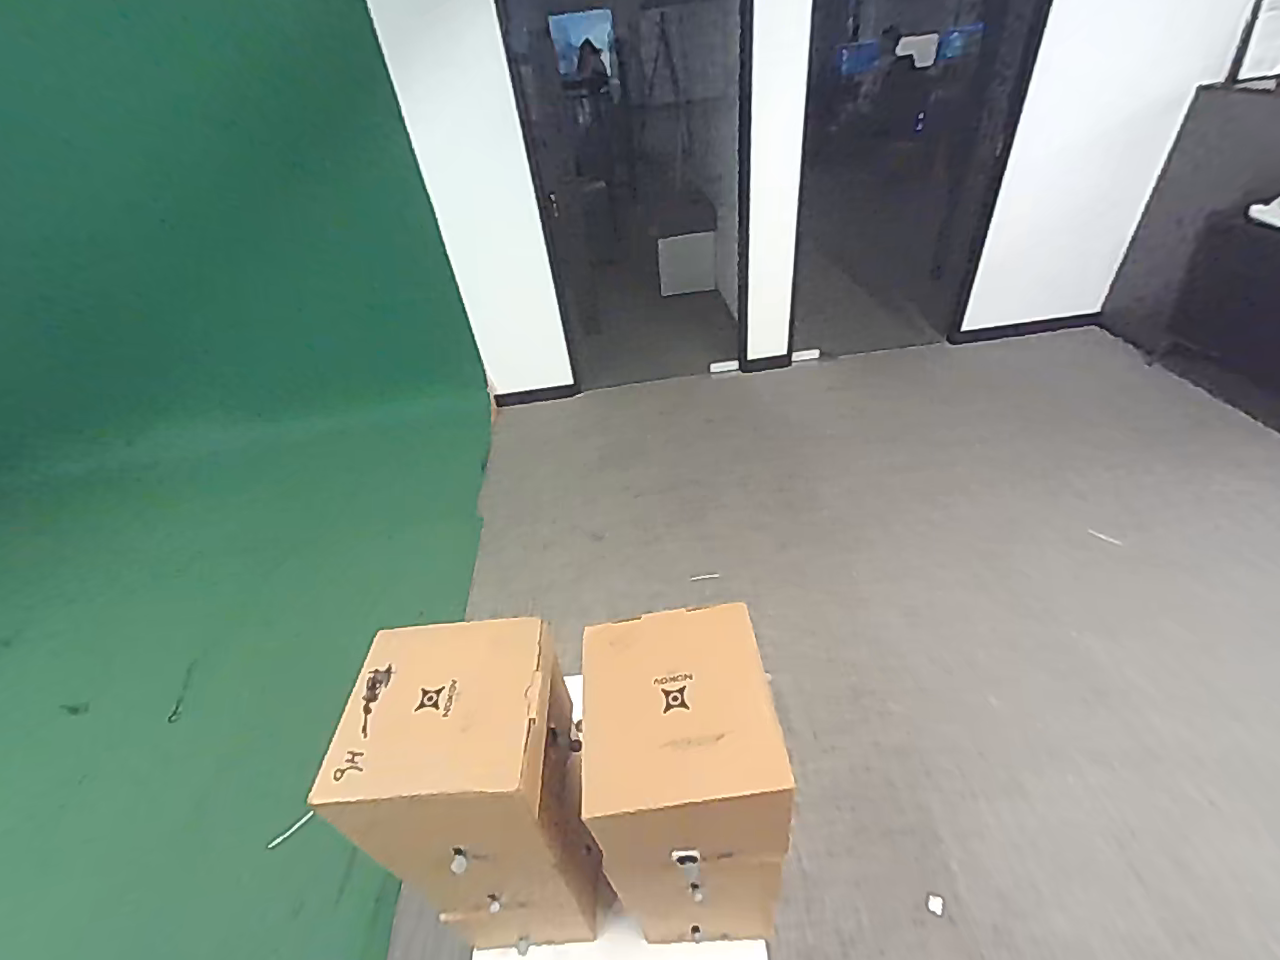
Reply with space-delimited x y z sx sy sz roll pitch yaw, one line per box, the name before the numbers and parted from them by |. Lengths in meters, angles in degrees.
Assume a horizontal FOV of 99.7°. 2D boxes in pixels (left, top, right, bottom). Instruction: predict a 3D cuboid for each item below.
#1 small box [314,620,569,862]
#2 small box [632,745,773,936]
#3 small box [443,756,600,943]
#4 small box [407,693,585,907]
small box | -0.172 0.261 0.542 0.179 0.176 0.168 -4 39 2
small box | 0.081 0.491 0.739 0.168 0.176 0.179 -6 40 4
small box | -0.150 0.511 0.753 0.168 0.176 0.179 -6 40 2
small box | -0.162 0.382 0.652 0.168 0.176 0.179 -5 39 3
